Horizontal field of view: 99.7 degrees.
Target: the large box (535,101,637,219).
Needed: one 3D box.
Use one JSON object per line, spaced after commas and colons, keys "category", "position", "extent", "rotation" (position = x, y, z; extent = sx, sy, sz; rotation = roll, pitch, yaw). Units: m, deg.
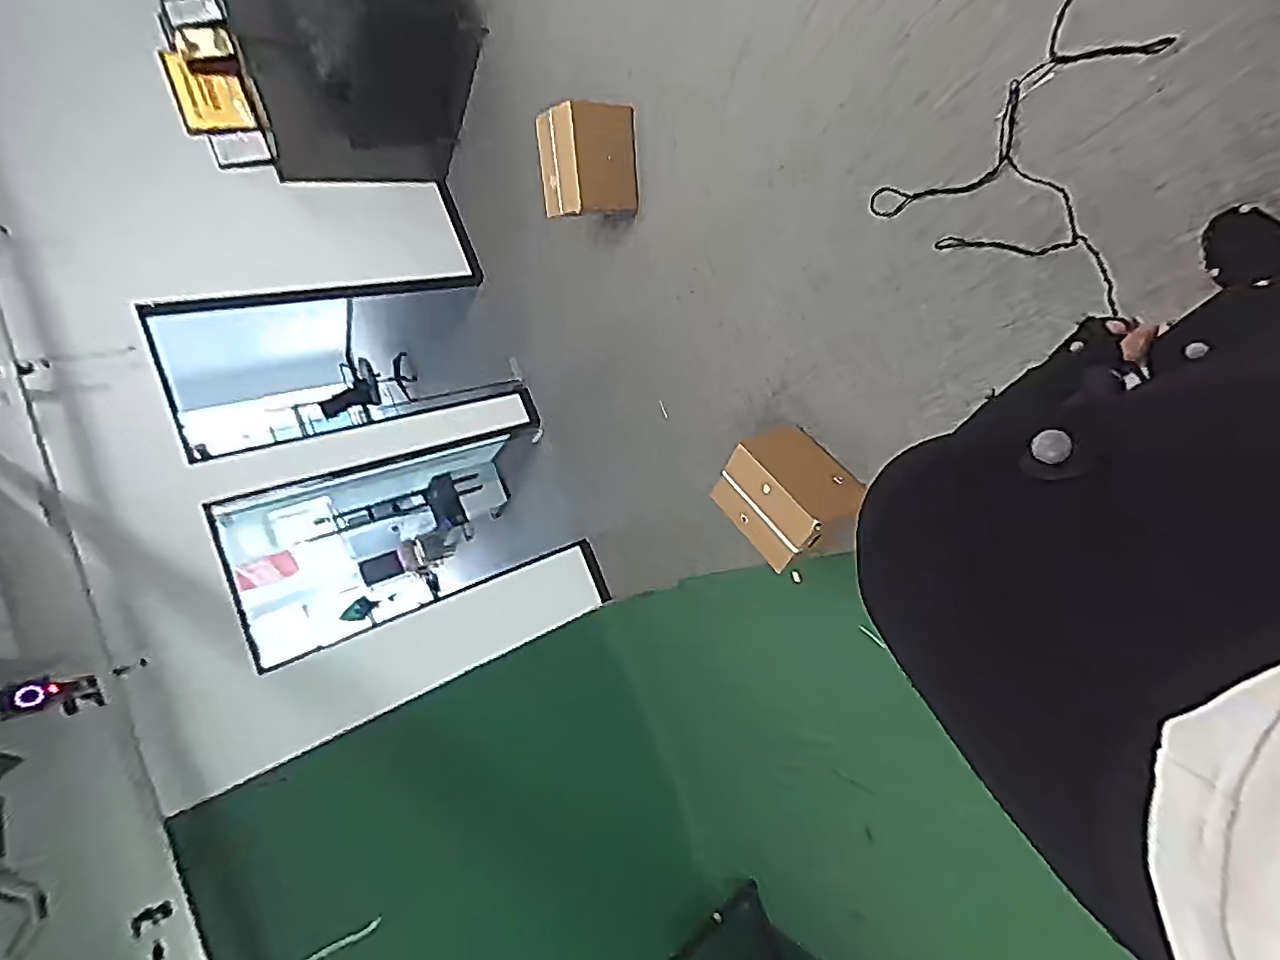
{"category": "large box", "position": [-0.236, -1.412, 2.417], "extent": [0.320, 0.320, 0.408], "rotation": [25, 128, 50]}
